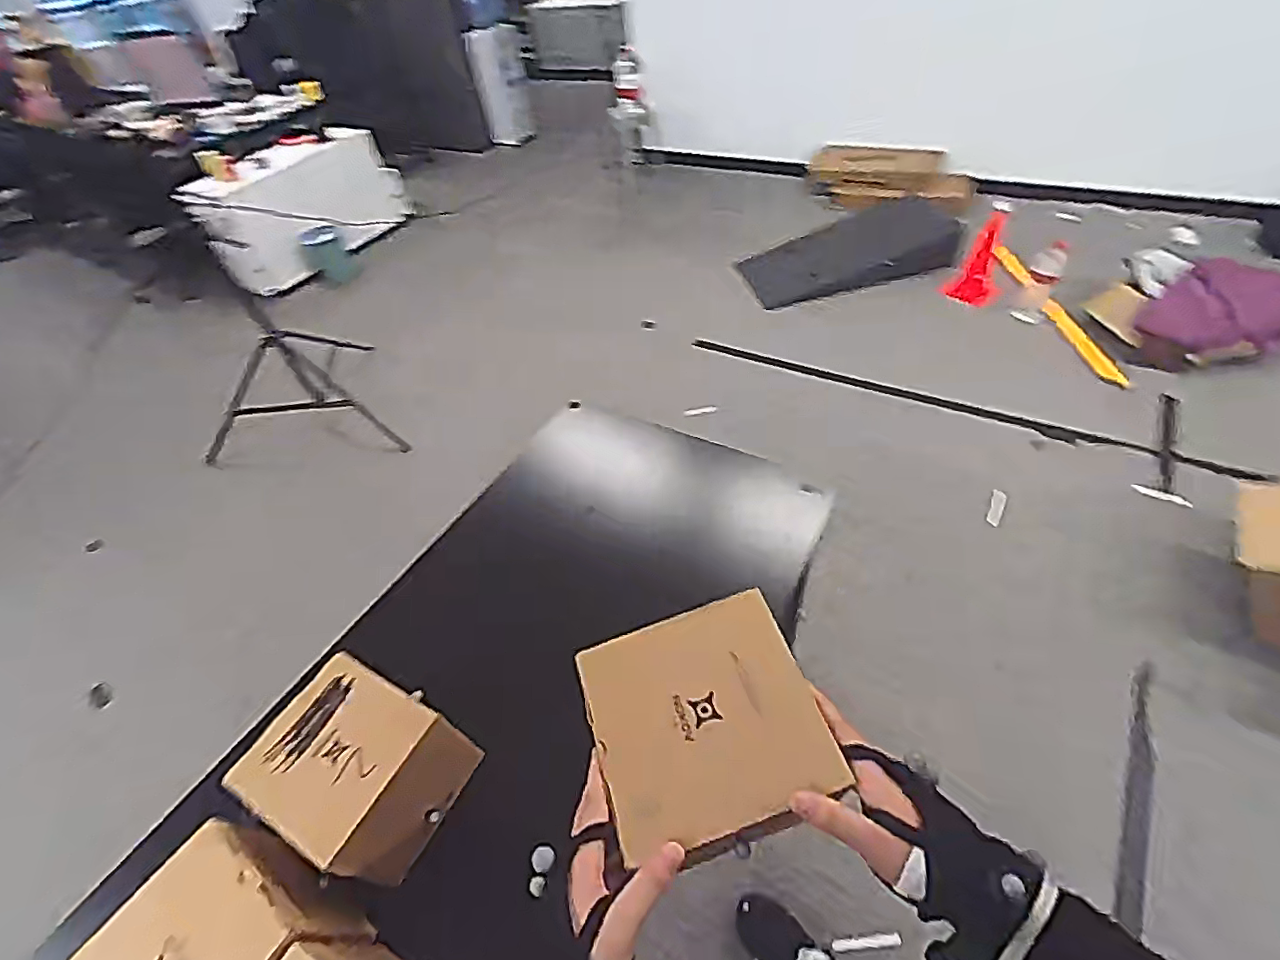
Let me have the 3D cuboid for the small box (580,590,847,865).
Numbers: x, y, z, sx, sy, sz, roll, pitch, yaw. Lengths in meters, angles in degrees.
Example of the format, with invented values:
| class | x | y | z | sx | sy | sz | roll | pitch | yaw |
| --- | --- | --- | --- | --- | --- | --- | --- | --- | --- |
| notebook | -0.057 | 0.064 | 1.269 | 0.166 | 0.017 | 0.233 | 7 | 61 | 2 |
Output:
| class | x | y | z | sx | sy | sz | roll | pitch | yaw |
| --- | --- | --- | --- | --- | --- | --- | --- | --- | --- |
| small box | 0.063 | 0.234 | 0.501 | 0.179 | 0.176 | 0.168 | -19 | 53 | -4 |
